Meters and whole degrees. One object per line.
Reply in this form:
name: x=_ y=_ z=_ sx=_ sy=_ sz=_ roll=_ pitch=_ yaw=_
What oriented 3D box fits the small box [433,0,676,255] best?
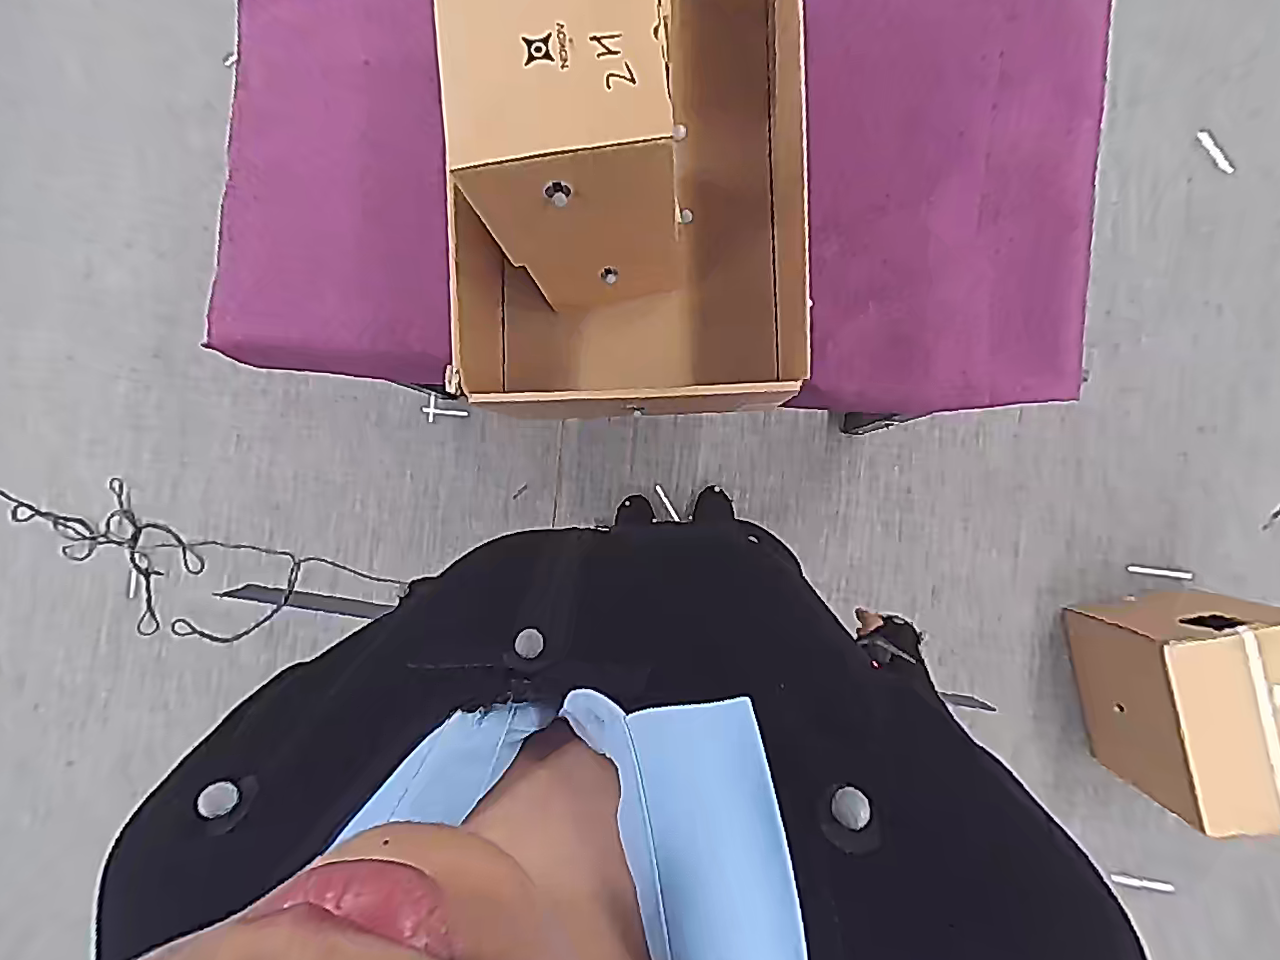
small box: x=-0.061 y=-0.319 z=0.481 sx=0.179 sy=0.176 sz=0.168 roll=-6 pitch=87 yaw=4

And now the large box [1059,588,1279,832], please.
large box: x=1.263 y=0.498 z=1.242 sx=0.320 sy=0.320 sz=0.408 roll=-12 pitch=88 yaw=4
